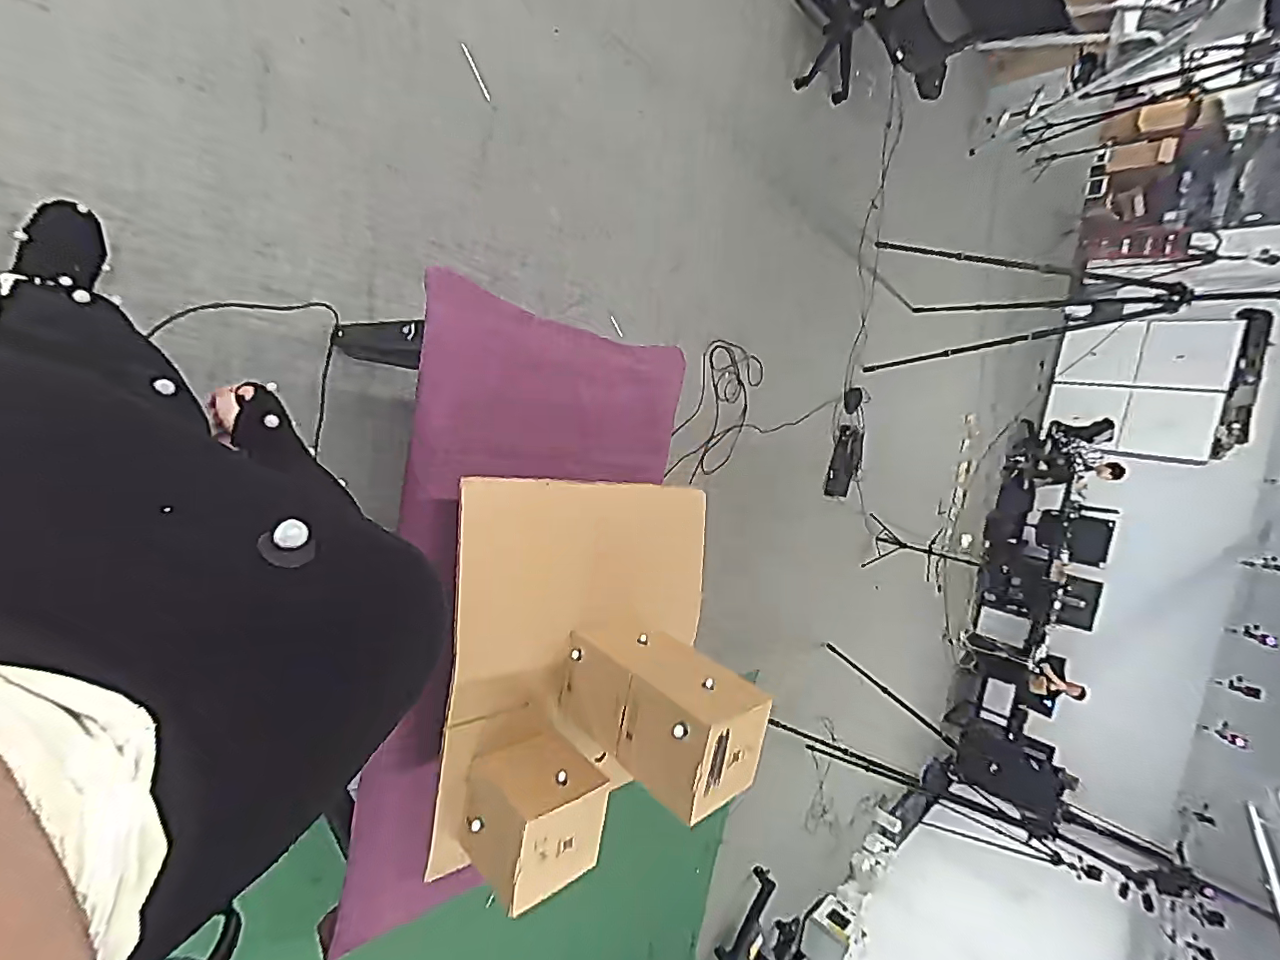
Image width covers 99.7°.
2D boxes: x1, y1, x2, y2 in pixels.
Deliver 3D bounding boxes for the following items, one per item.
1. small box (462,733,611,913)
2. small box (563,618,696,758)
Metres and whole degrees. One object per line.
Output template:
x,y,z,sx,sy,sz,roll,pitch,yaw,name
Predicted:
-0.179,0.569,0.929,0.179,0.176,0.168,3,100,-45,small box
-0.024,0.378,1.020,0.179,0.176,0.168,1,103,-46,small box
